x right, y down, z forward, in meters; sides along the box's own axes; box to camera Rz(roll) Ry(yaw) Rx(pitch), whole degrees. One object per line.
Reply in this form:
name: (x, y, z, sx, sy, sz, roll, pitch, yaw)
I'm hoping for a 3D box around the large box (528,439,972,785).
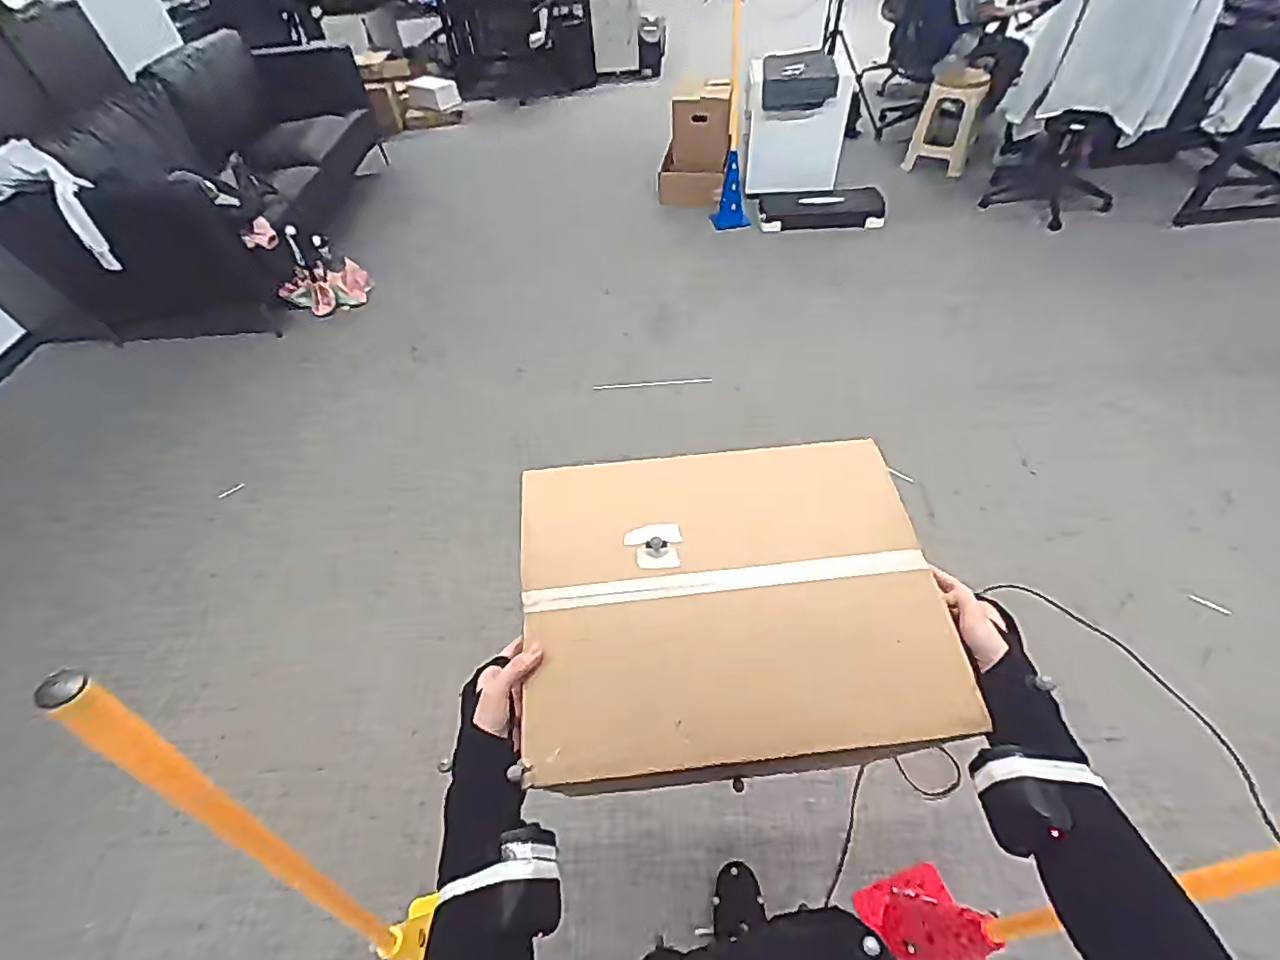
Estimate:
large box: (0.092, 0.180, 0.679, 0.408, 0.320, 0.320, -6, 58, -2)
